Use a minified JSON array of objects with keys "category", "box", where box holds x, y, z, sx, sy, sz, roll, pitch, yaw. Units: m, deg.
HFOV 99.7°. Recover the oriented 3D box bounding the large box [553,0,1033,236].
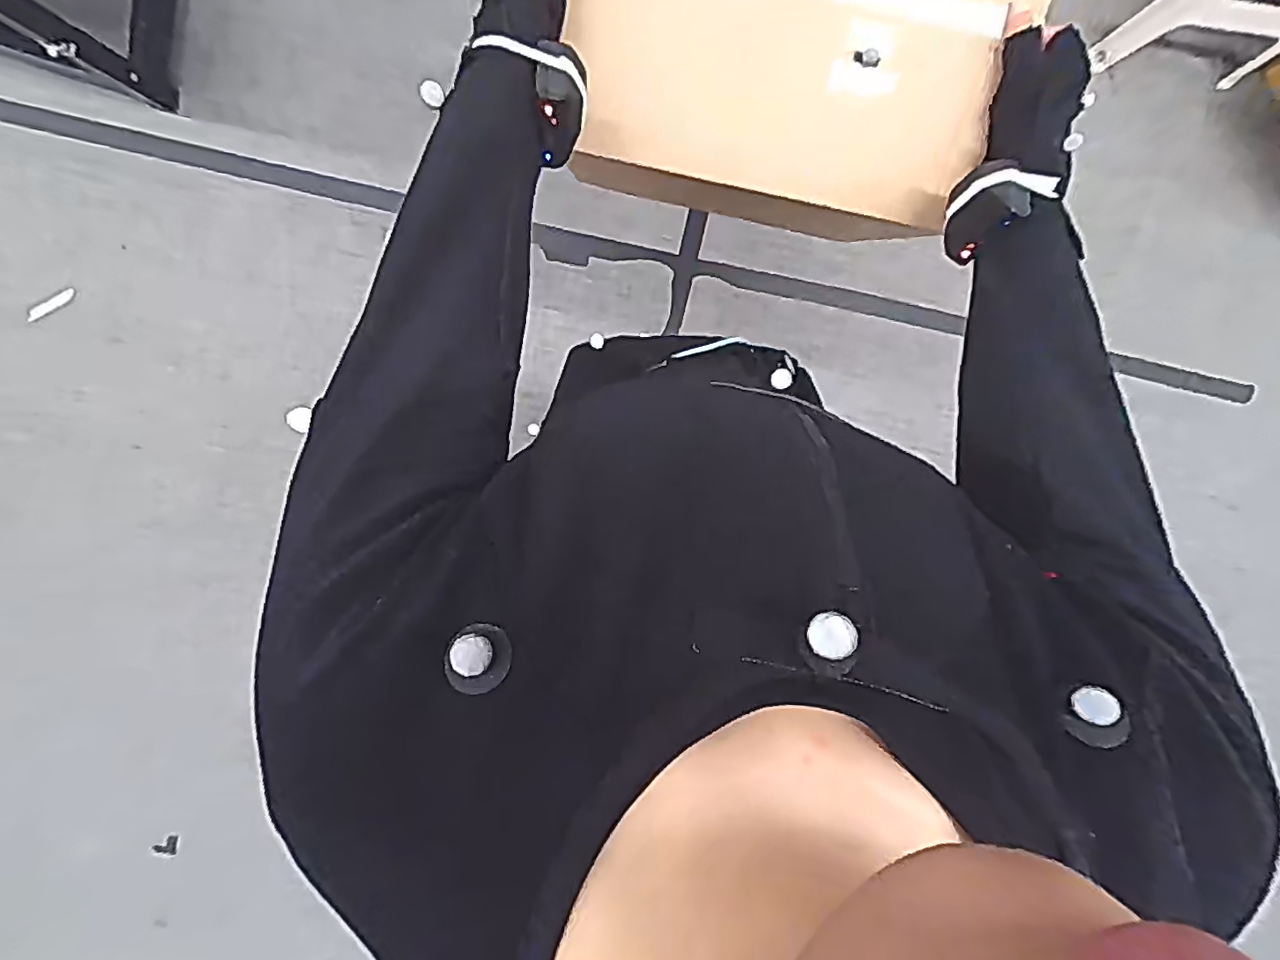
[{"category":"large box","box":[0.134,-0.475,0.599,0.408,0.320,0.320,10,114,-5]}]
